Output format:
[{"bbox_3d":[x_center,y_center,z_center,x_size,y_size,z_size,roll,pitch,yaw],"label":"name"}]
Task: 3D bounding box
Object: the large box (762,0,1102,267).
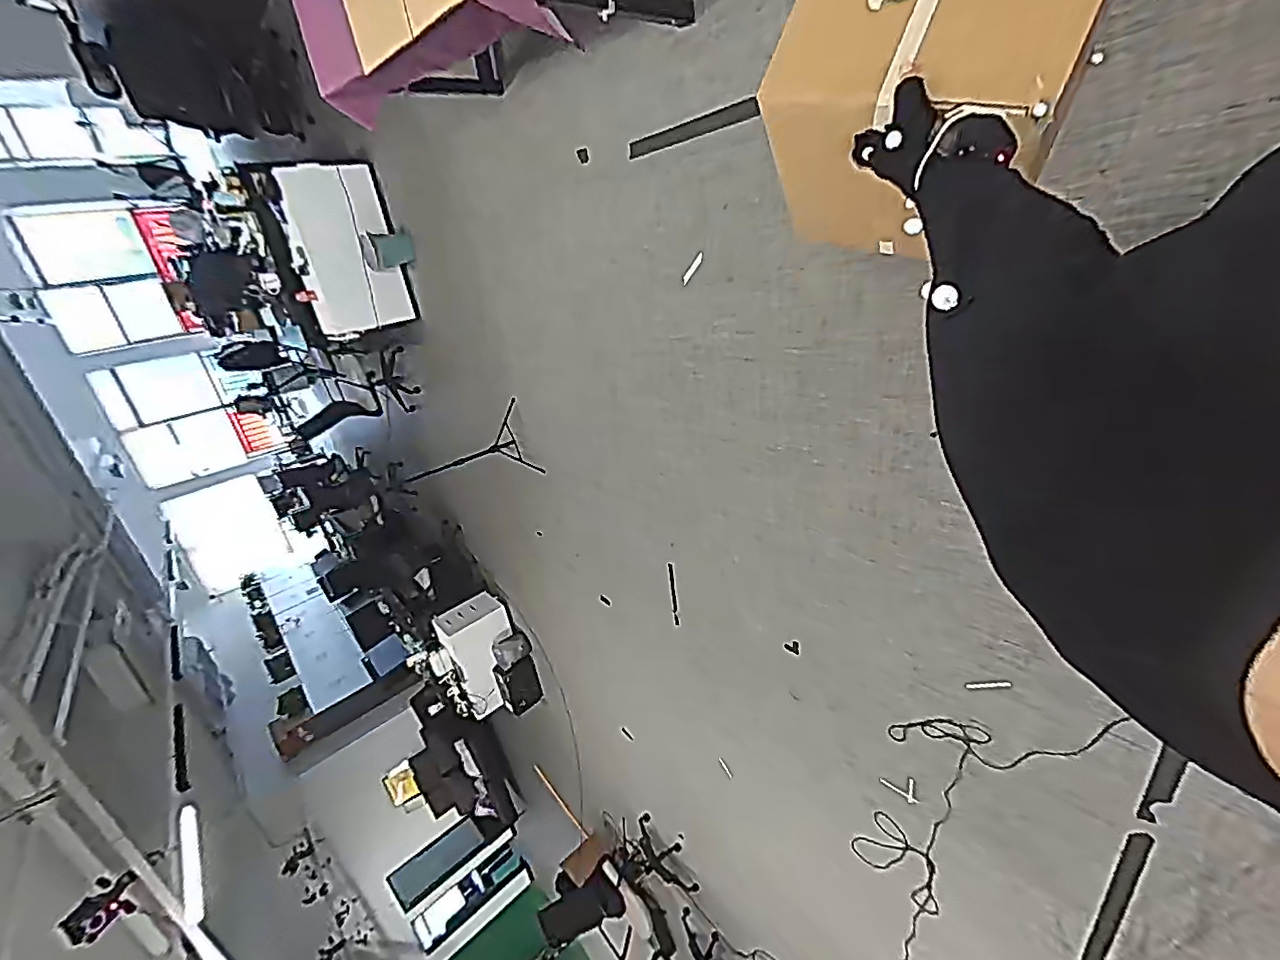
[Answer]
[{"bbox_3d":[0.411,-0.571,0.732,0.320,0.320,0.408,24,92,27],"label":"large box"}]
